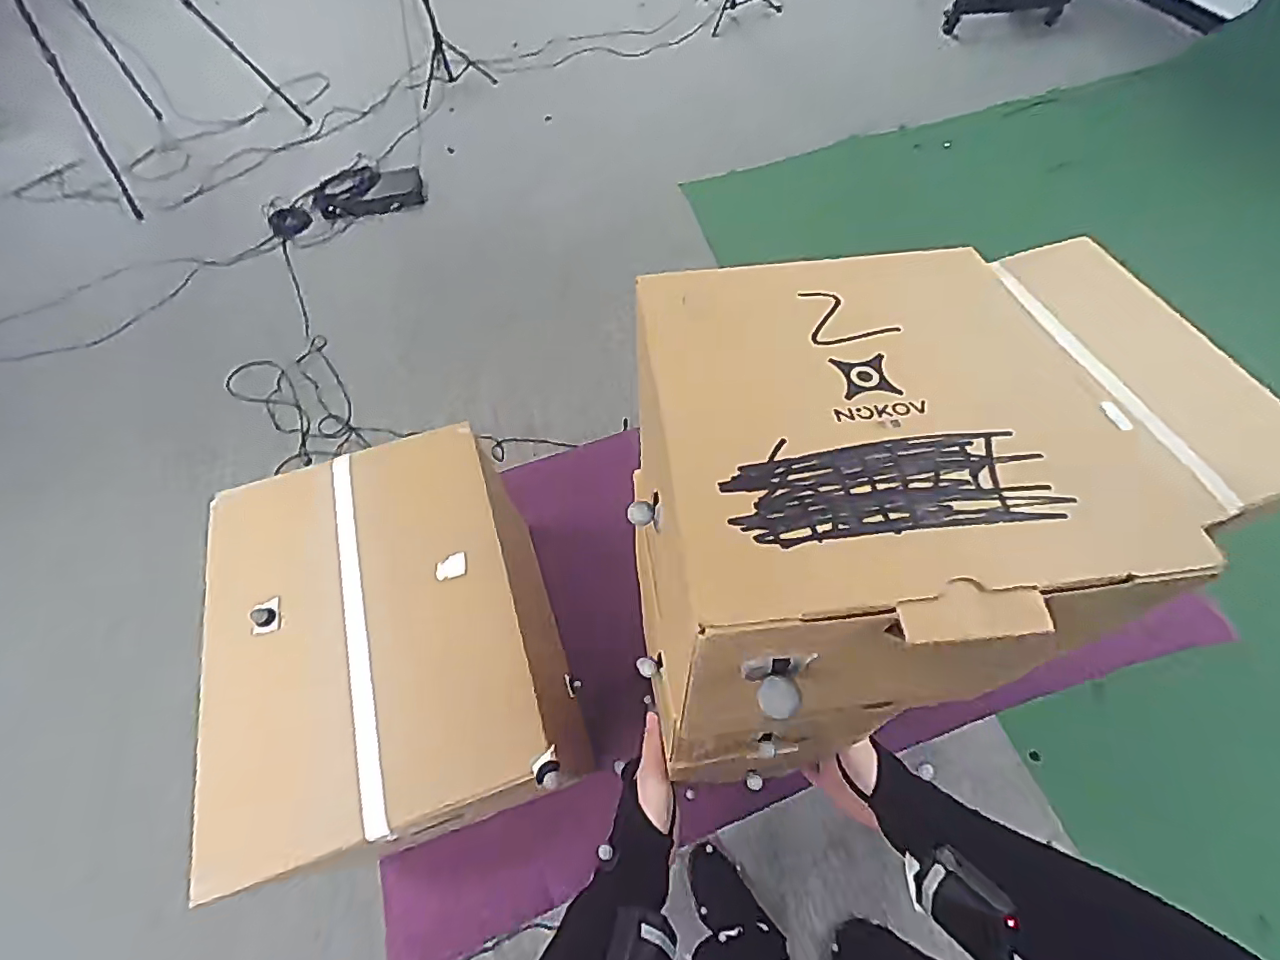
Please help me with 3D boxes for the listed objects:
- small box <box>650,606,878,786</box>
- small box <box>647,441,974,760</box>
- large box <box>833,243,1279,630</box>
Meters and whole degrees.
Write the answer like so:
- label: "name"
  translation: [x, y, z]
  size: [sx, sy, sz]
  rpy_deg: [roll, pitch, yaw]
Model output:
- label: "small box"
  translation: [0.102, 0.191, 0.543]
  size: [0.168, 0.176, 0.179]
  rpy_deg: [-8, 56, -3]
- label: "small box"
  translation: [0.097, 0.096, 0.412]
  size: [0.168, 0.176, 0.179]
  rpy_deg: [-7, 56, -4]
- label: "large box"
  translation: [0.543, -0.055, 0.775]
  size: [0.320, 0.320, 0.408]
  rpy_deg: [-19, 62, -5]
